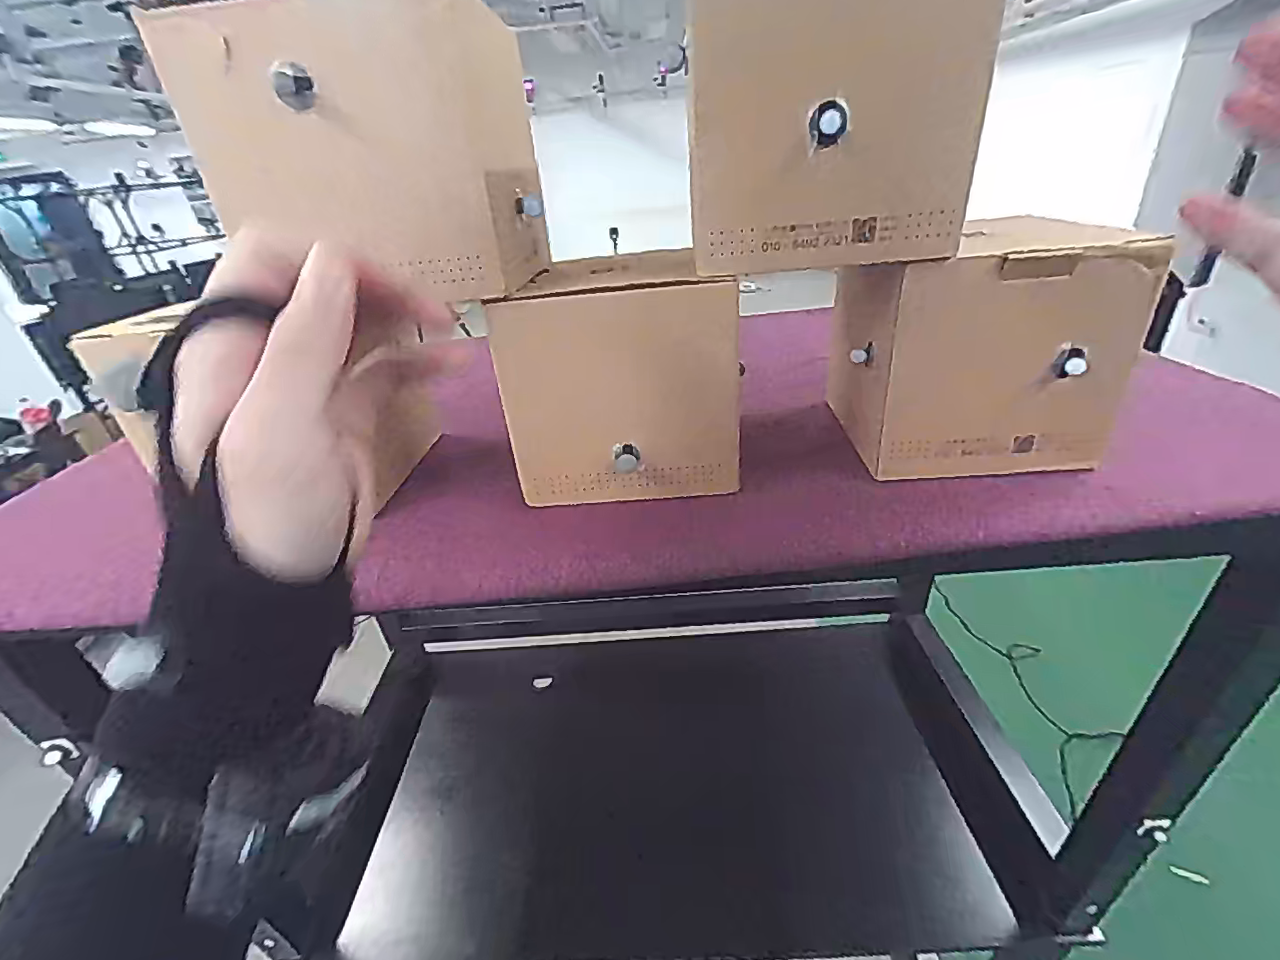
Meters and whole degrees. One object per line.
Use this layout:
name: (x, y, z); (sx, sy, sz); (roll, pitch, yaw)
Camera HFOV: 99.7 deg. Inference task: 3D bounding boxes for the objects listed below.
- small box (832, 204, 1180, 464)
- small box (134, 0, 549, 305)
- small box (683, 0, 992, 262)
small box: (0.265, -0.120, 0.448); (0.168, 0.176, 0.179); (-3, 30, 6)
small box: (-0.176, -0.229, 0.388); (0.179, 0.176, 0.168); (-3, 30, 4)
small box: (0.117, -0.253, 0.376); (0.168, 0.176, 0.179); (-2, 30, 6)
